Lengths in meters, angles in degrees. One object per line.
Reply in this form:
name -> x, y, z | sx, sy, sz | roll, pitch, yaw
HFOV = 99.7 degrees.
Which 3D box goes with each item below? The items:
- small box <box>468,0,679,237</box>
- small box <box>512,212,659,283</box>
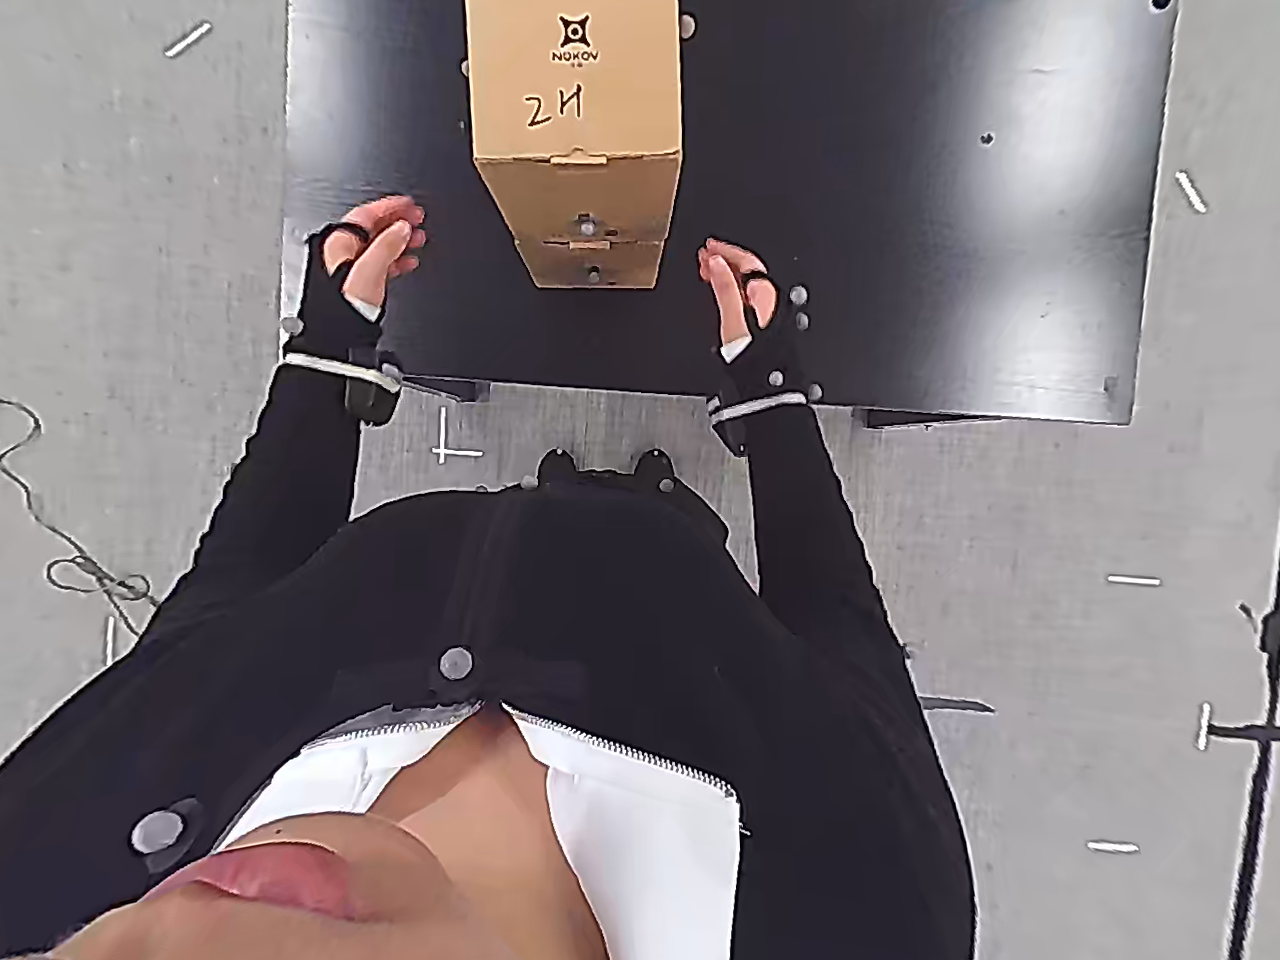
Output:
small box -> -0.054, -0.348, 0.503 | 0.168, 0.176, 0.179 | -2, 92, -1
small box -> -0.059, -0.354, 0.670 | 0.168, 0.176, 0.179 | 0, 93, -1
